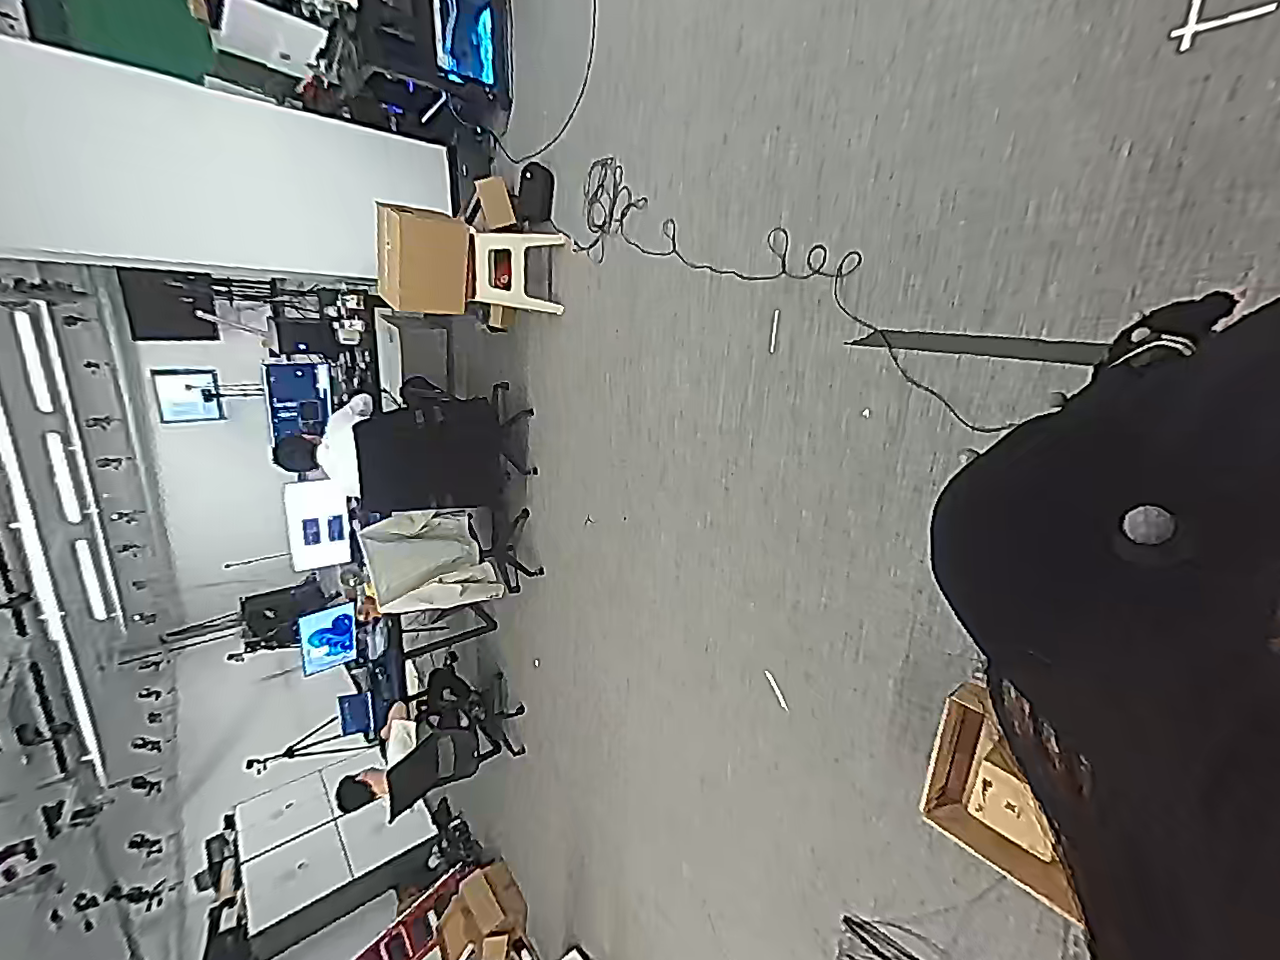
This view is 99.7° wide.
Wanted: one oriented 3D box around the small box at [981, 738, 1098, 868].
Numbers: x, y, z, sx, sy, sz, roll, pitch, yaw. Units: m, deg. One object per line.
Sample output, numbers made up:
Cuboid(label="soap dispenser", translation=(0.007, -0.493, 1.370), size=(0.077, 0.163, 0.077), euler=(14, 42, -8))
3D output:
Cuboid(label="small box", translation=(0.960, 0.760, 1.296), size=(0.179, 0.176, 0.168), euler=(21, 113, 46))
